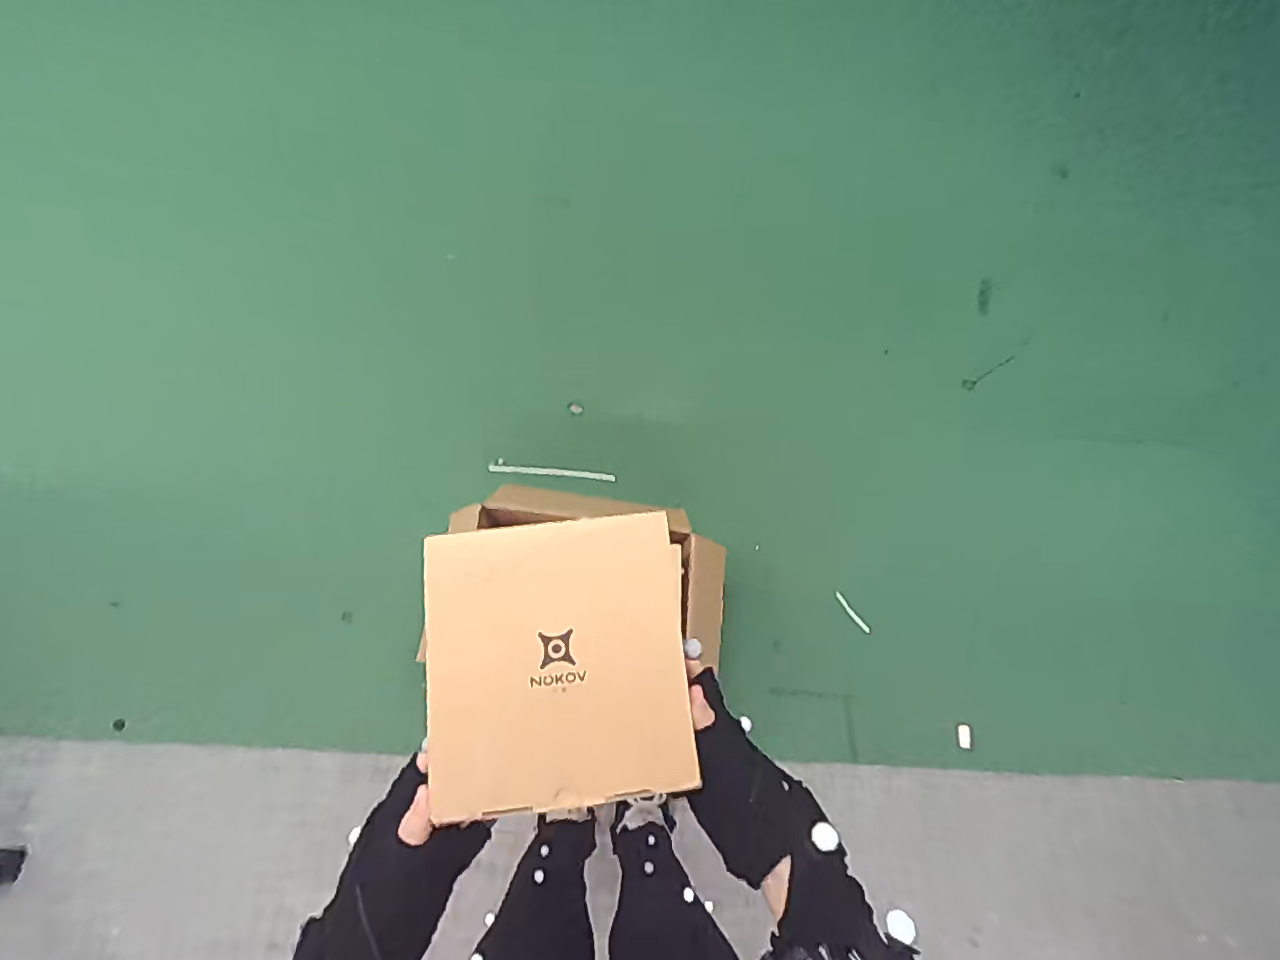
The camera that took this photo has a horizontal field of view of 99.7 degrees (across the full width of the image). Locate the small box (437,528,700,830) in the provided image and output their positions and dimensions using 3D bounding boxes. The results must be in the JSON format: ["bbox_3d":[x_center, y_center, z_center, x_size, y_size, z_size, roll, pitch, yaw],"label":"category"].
[{"bbox_3d":[-0.055,0.143,0.435,0.168,0.176,0.179,-6,77,-4],"label":"small box"}]
